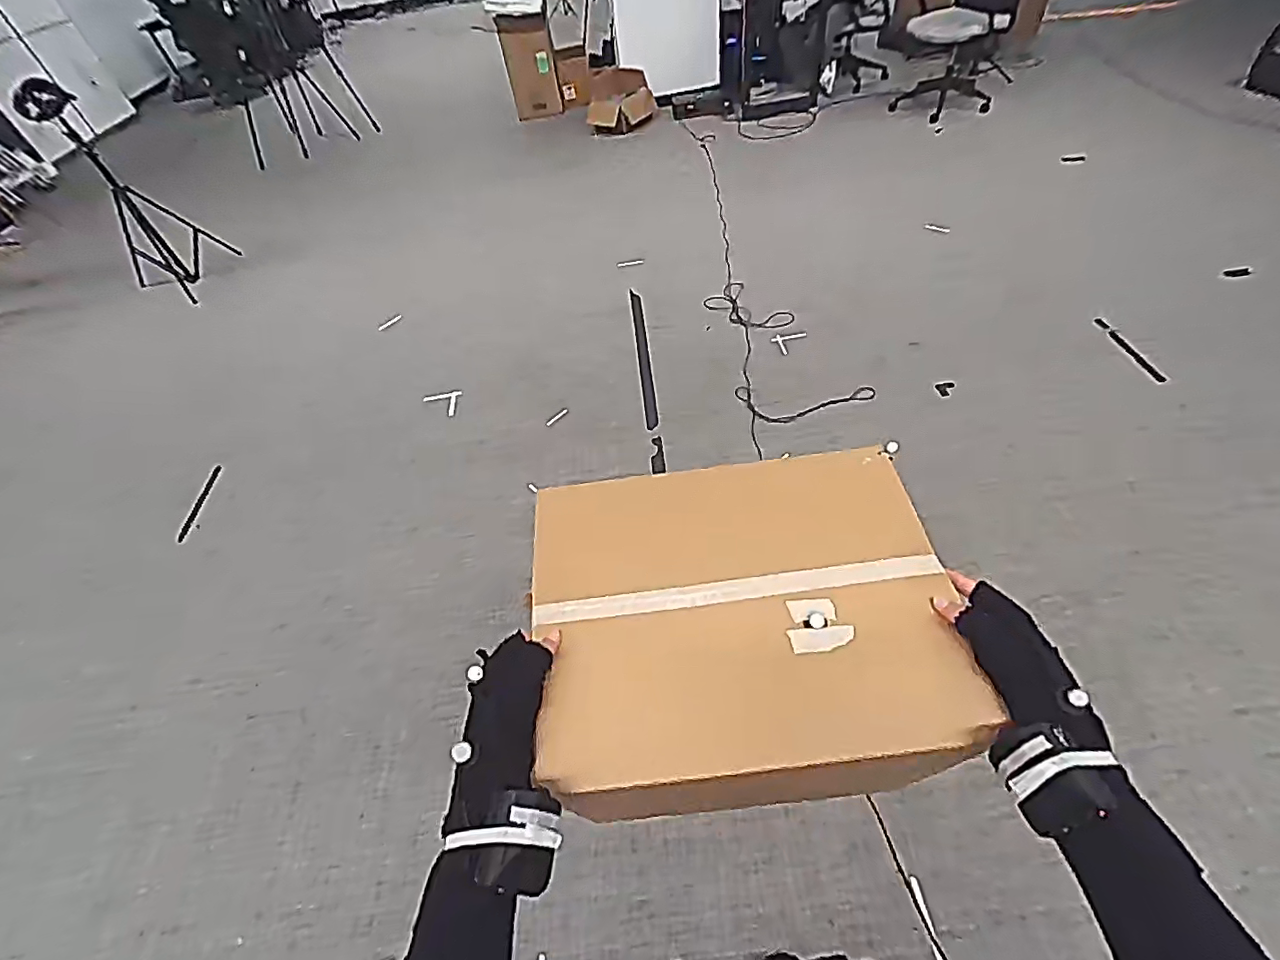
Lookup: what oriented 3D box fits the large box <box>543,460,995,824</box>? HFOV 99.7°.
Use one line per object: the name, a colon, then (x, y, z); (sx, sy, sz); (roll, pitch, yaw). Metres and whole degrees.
large box: (0.109, 0.212, 0.674); (0.408, 0.320, 0.320); (-8, 54, 0)
